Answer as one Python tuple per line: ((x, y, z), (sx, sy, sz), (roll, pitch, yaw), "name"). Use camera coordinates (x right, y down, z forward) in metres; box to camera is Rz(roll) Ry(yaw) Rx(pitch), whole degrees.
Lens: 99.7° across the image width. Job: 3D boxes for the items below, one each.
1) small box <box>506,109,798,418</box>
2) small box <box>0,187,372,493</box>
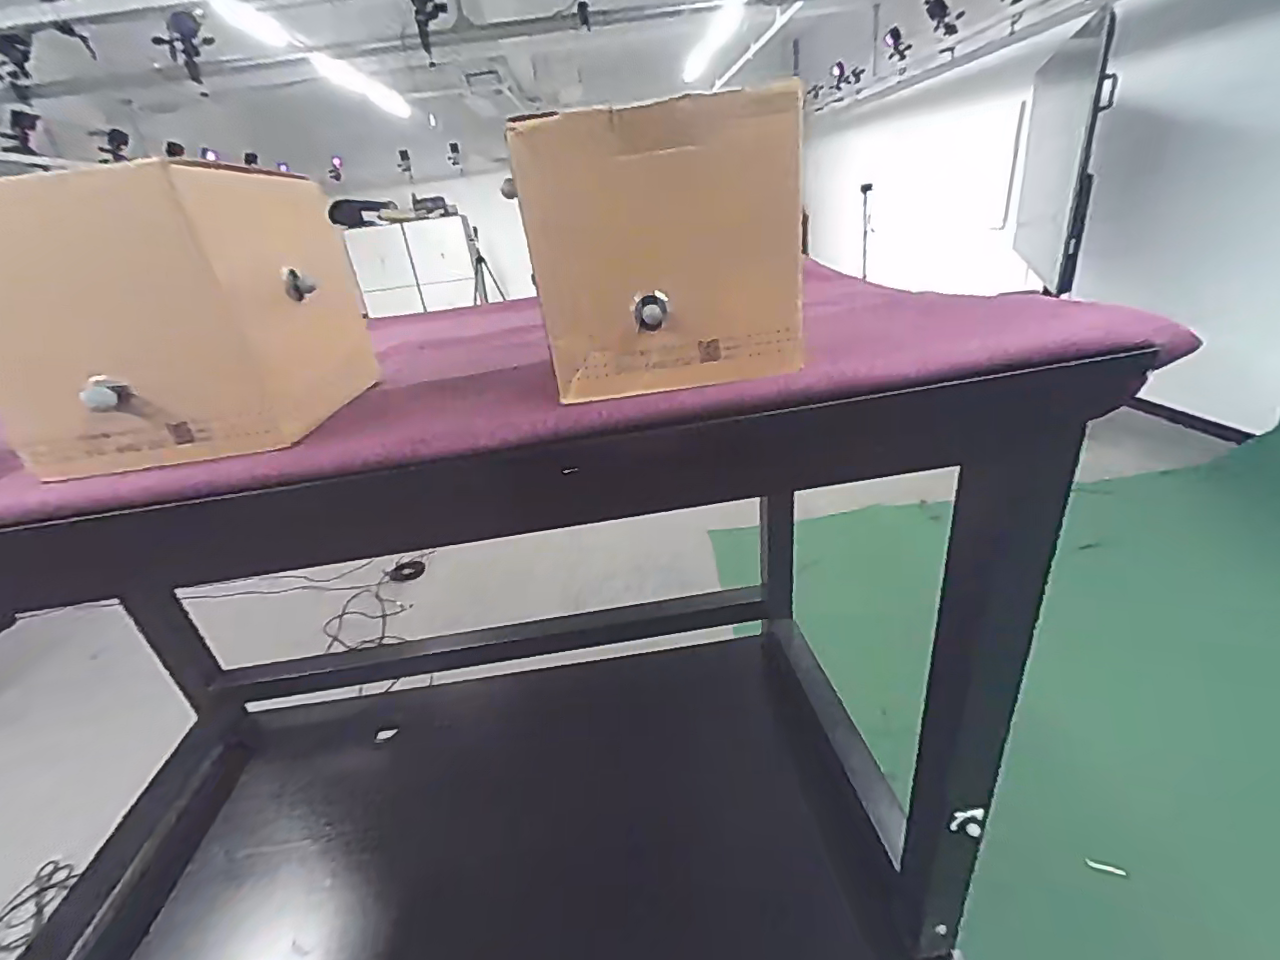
((0.011, -0.159, 0.408), (0.168, 0.176, 0.179), (-8, 28, 1), "small box")
((-0.324, -0.108, 0.396), (0.168, 0.176, 0.179), (-8, 28, -1), "small box")
